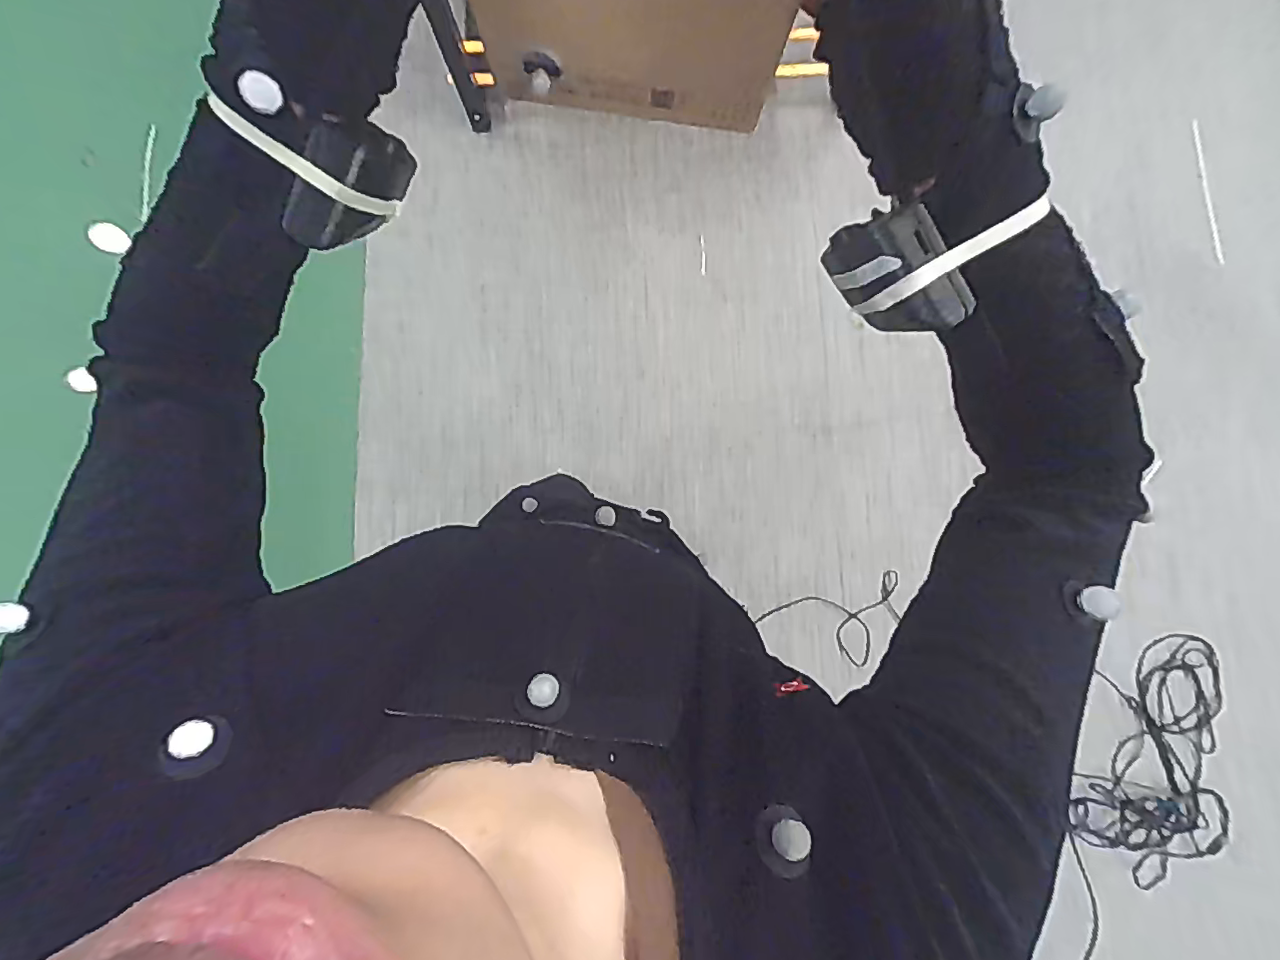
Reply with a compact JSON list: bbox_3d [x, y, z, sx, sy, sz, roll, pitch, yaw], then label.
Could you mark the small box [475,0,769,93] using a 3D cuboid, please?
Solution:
[{"bbox_3d":[-0.003,-0.335,0.262,0.168,0.176,0.179,7,86,-2],"label":"small box"}]
